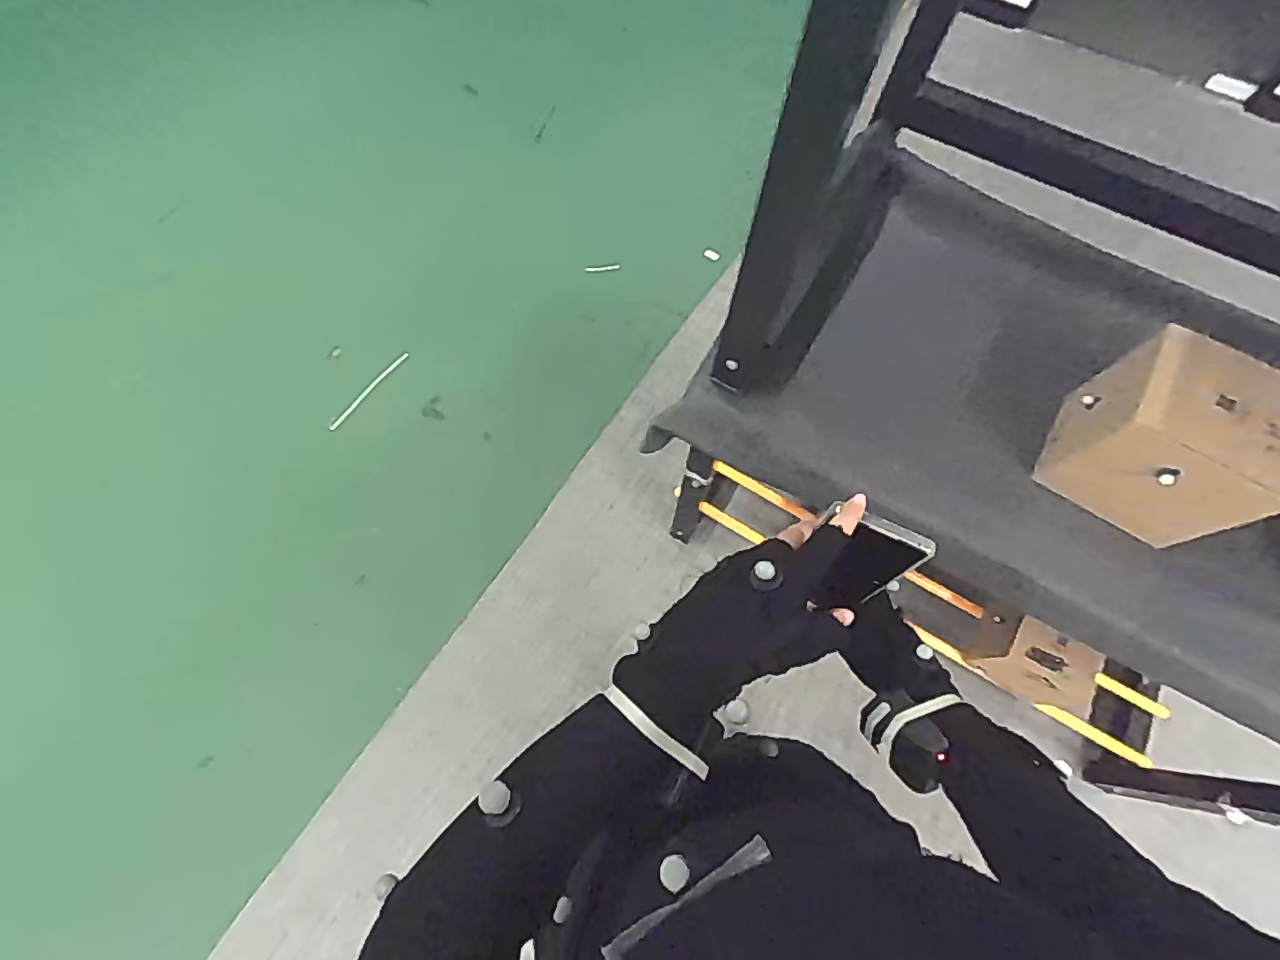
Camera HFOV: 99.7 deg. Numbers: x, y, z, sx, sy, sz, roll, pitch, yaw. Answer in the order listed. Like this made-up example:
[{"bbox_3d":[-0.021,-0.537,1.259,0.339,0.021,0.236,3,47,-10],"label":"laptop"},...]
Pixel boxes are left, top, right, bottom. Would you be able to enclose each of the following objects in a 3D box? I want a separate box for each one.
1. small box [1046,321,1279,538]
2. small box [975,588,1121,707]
[{"bbox_3d":[0.654,-0.051,0.661,0.179,0.176,0.168,33,71,12],"label":"small box"},{"bbox_3d":[0.865,0.365,1.165,0.168,0.176,0.179,33,71,12],"label":"small box"}]
